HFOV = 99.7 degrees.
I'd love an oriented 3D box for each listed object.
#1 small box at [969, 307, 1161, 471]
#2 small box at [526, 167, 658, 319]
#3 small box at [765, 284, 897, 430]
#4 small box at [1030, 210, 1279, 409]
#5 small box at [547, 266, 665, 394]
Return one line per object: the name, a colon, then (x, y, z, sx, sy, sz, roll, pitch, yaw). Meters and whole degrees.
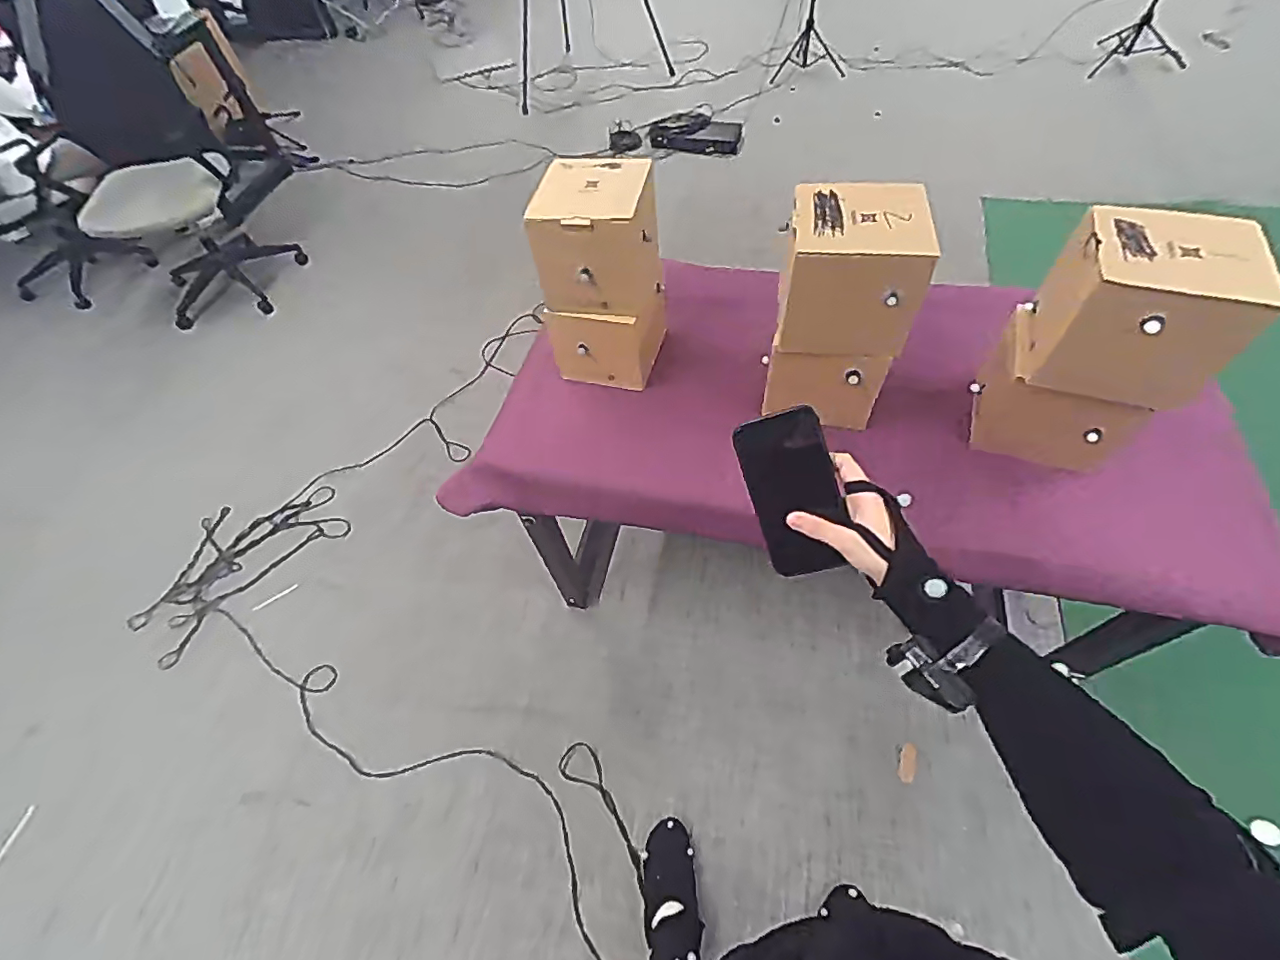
small box: (0.640, -0.135, 0.832, 0.179, 0.176, 0.168, 15, 58, 17)
small box: (-0.065, -0.384, 0.886, 0.168, 0.176, 0.179, 6, 57, 10)
small box: (0.318, -0.203, 0.916, 0.179, 0.176, 0.168, 10, 57, 13)
small box: (0.629, -0.213, 0.689, 0.179, 0.176, 0.168, 15, 58, 16)
small box: (-0.051, -0.285, 1.016, 0.168, 0.176, 0.179, 10, 57, 13)
